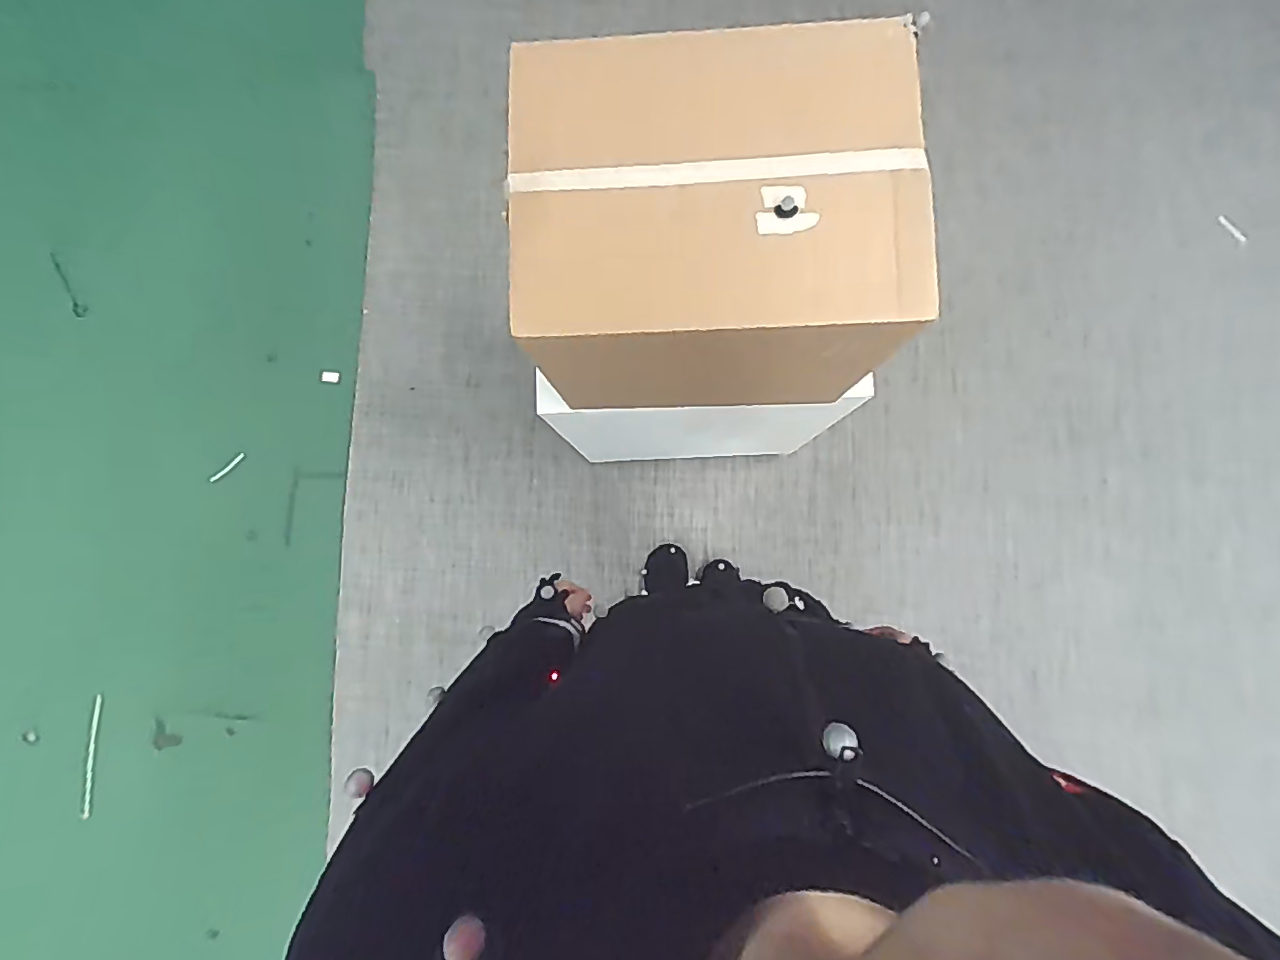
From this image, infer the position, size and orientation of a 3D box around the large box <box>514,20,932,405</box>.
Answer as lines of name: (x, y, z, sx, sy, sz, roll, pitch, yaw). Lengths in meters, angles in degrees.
large box: (0.077, -0.288, 0.681, 0.408, 0.320, 0.320, -2, 84, 2)
